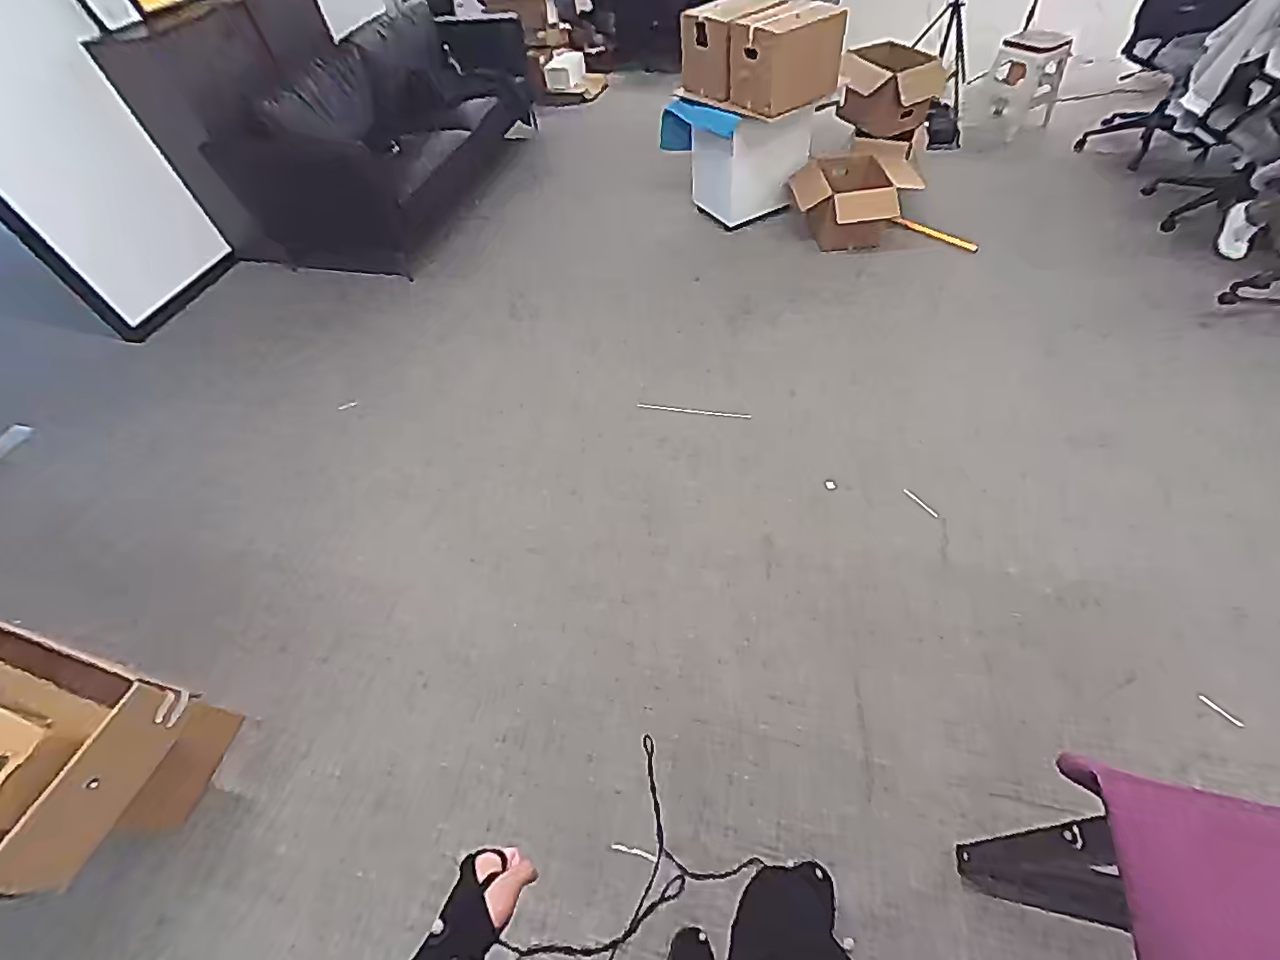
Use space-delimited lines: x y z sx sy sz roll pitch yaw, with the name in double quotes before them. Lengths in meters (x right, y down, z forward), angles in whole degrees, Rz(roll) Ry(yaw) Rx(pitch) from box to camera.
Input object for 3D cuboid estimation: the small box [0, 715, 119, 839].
"small box" -1.238 0.605 1.096 0.179 0.176 0.168 10 53 17
